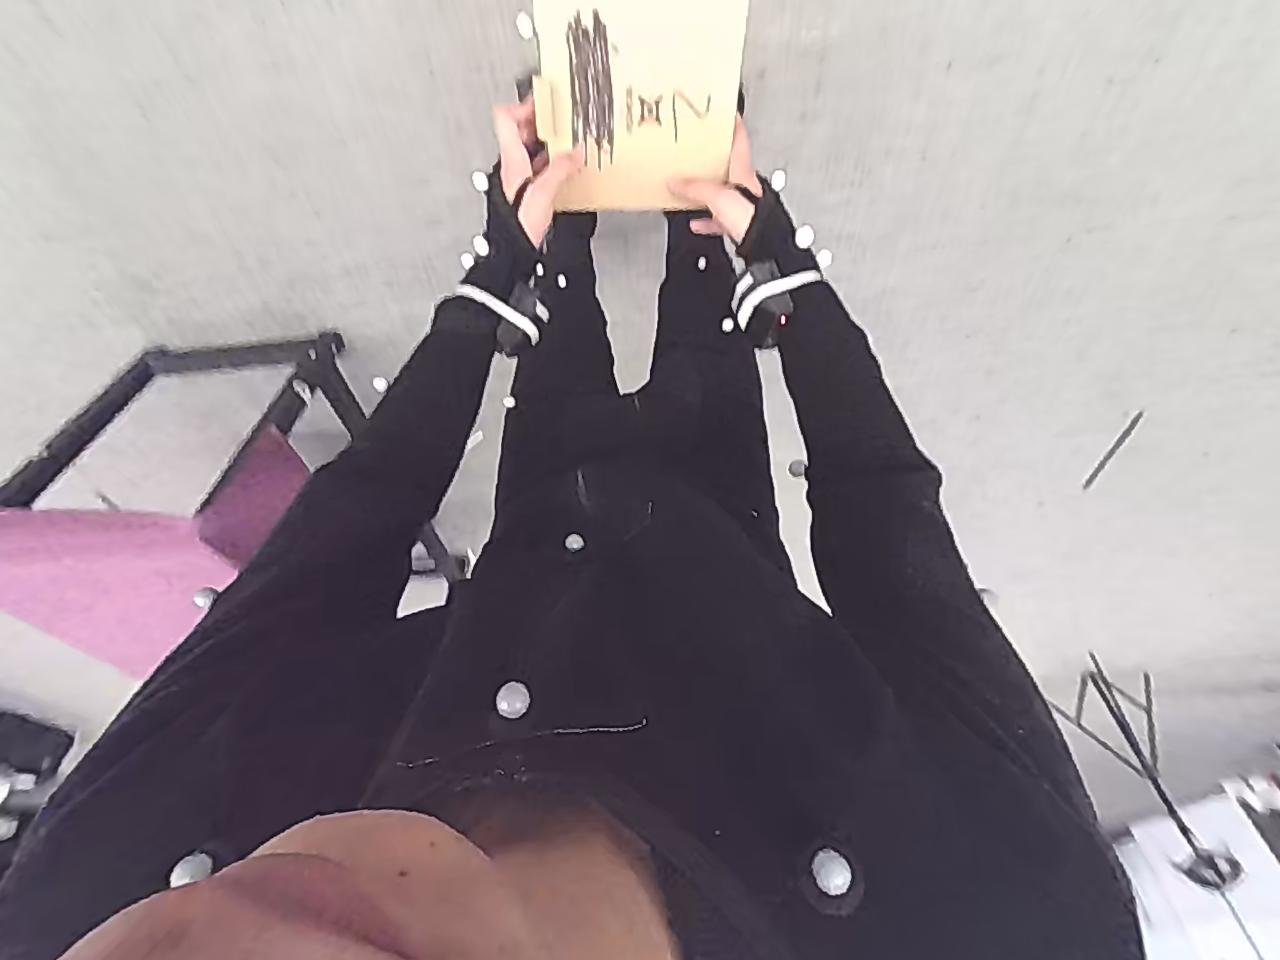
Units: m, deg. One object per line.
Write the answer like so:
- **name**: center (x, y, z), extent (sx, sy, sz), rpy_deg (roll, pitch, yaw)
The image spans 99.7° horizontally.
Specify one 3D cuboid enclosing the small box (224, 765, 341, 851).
- **small box**: center (-0.959, 0.892, 1.471), extent (0.179, 0.176, 0.168), rpy_deg (-12, 136, 11)
